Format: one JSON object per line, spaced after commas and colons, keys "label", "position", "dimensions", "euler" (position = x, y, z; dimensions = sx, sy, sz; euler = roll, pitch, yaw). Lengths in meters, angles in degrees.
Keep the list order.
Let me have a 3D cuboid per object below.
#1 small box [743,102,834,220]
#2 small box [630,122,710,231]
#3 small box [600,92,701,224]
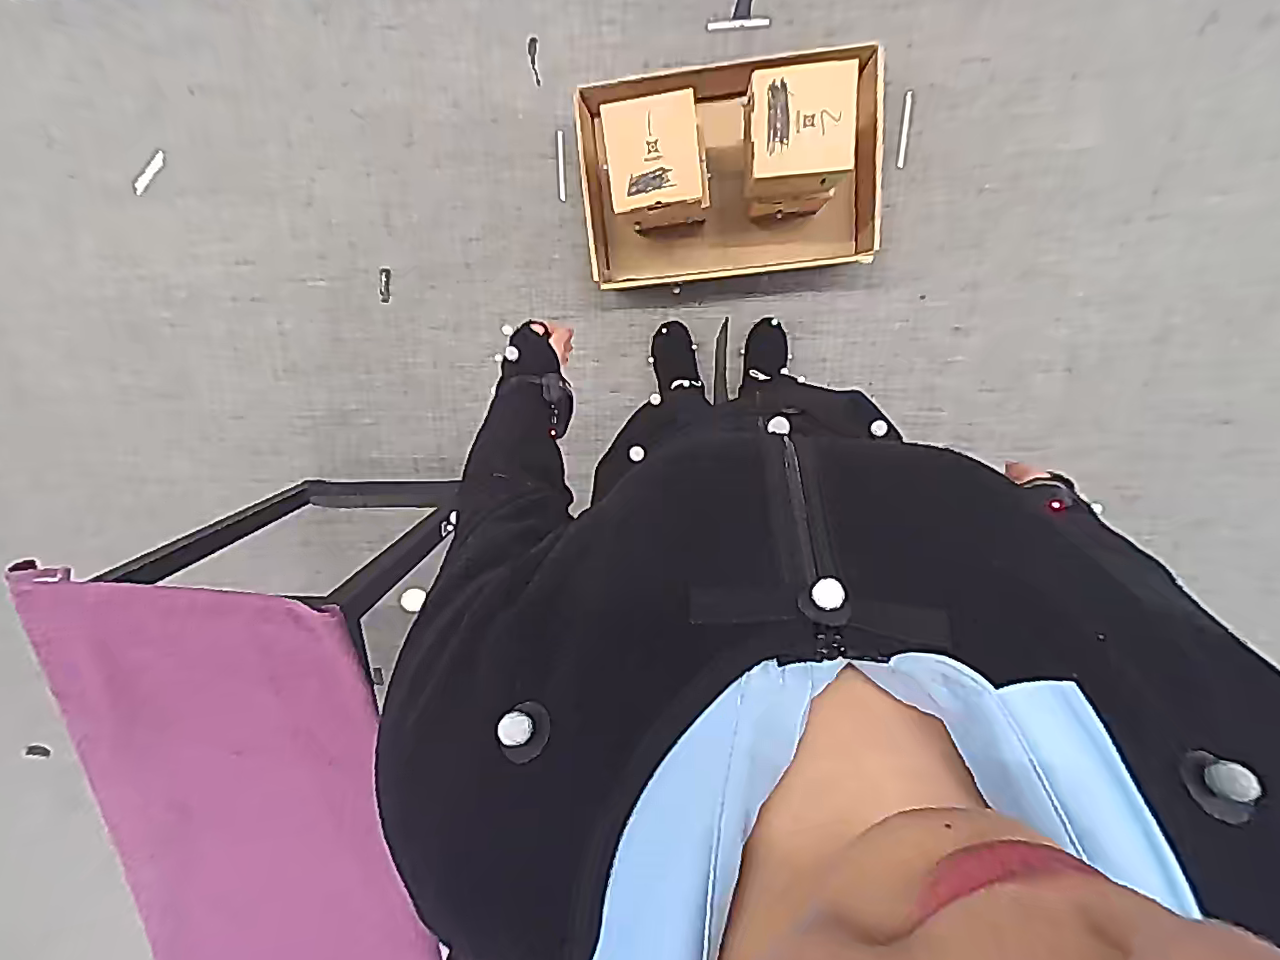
{"label": "small box", "position": [0.312, -0.675, 1.162], "dimensions": [0.168, 0.176, 0.179], "euler": [-3, 107, 7]}
{"label": "small box", "position": [0.055, -0.656, 1.188], "dimensions": [0.179, 0.176, 0.168], "euler": [-6, 106, 6]}
{"label": "small box", "position": [0.026, -0.600, 1.035], "dimensions": [0.168, 0.176, 0.179], "euler": [-6, 105, 5]}
